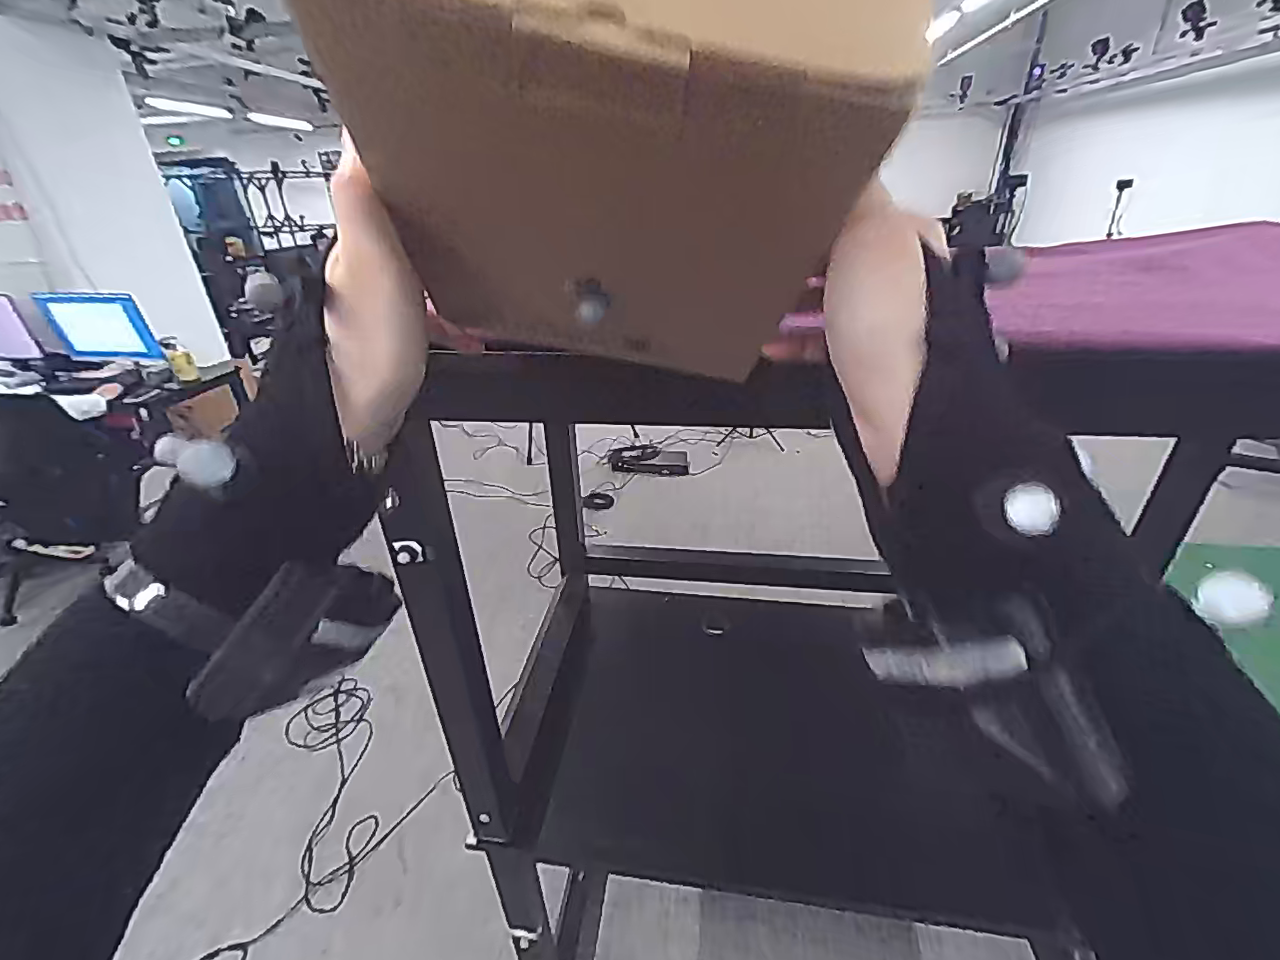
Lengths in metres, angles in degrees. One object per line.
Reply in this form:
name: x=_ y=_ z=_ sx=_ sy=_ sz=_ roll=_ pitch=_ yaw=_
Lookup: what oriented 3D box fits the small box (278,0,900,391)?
small box: x=-0.007 y=-0.162 z=0.239 sx=0.168 sy=0.179 sz=0.176 roll=10 pitch=-14 yaw=-2
